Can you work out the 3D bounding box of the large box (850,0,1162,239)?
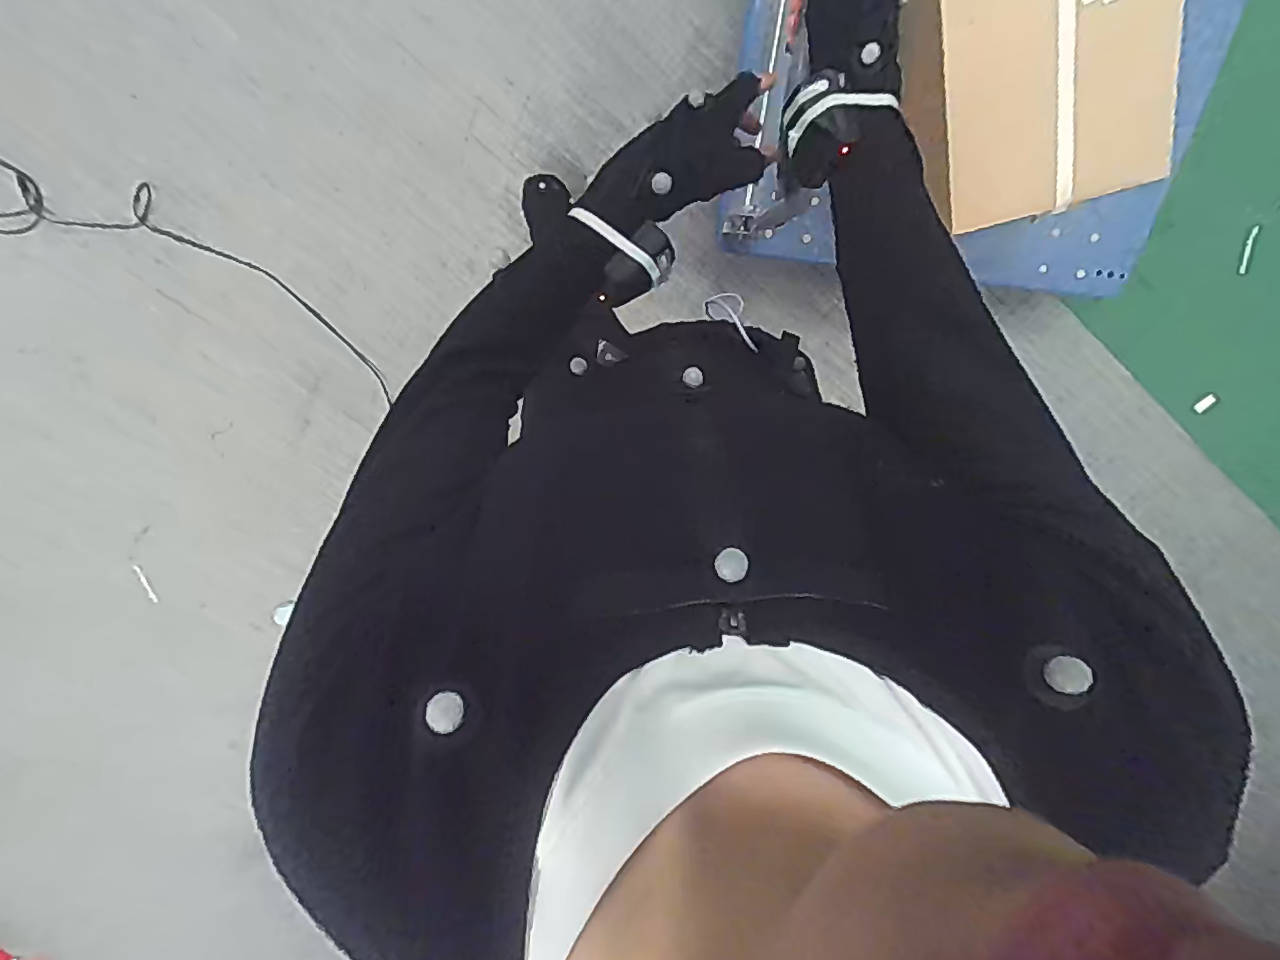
[{"bbox_3d":[0.571,-0.659,0.894,0.320,0.320,0.408,-13,109,7],"label":"large box"}]
